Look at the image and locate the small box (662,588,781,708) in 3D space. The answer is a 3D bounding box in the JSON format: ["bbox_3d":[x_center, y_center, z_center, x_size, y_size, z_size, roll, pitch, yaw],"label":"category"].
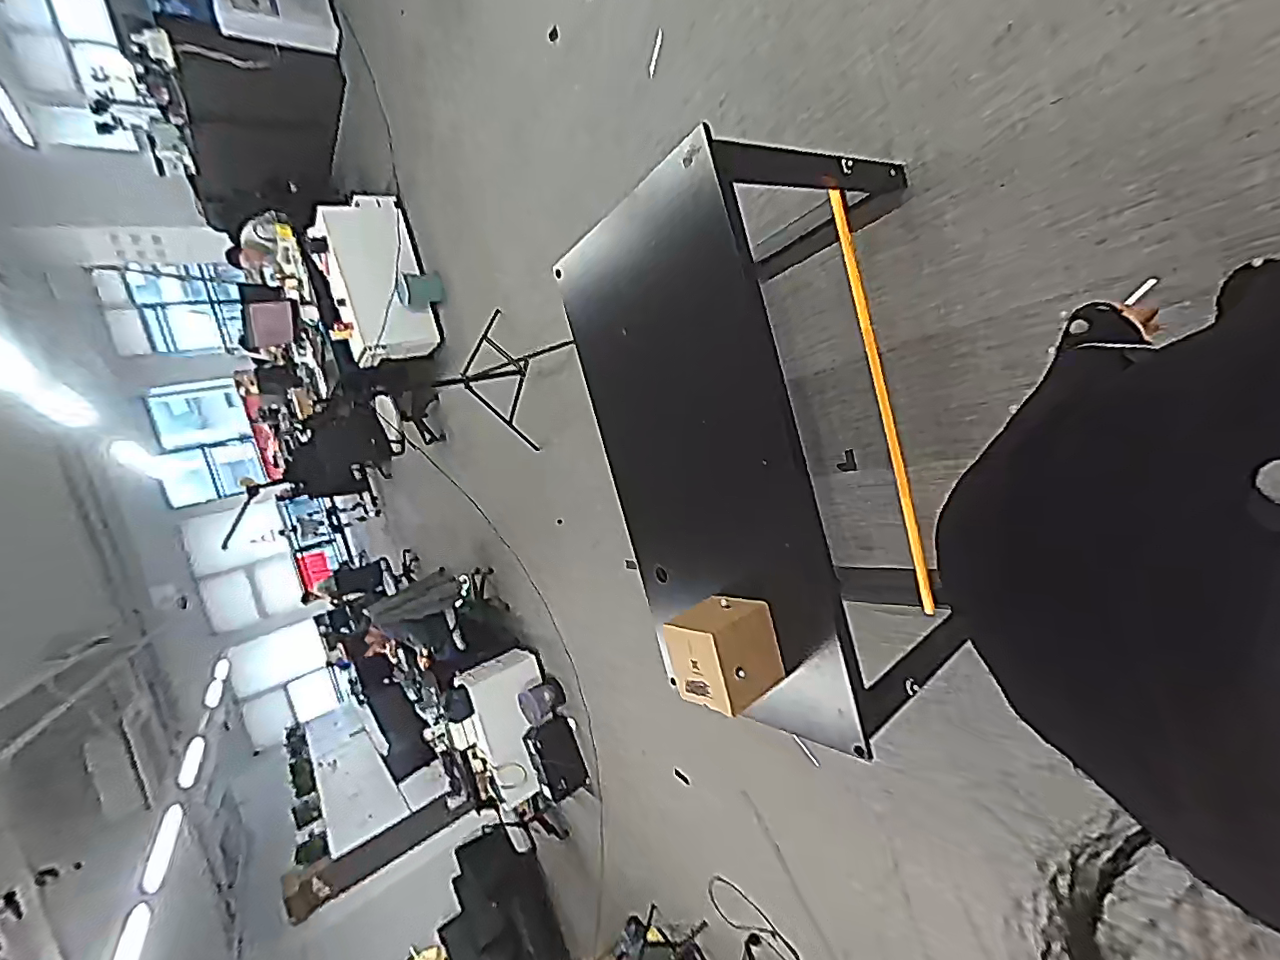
[{"bbox_3d":[0.179,0.350,1.161,0.168,0.176,0.179,-8,98,55],"label":"small box"}]
